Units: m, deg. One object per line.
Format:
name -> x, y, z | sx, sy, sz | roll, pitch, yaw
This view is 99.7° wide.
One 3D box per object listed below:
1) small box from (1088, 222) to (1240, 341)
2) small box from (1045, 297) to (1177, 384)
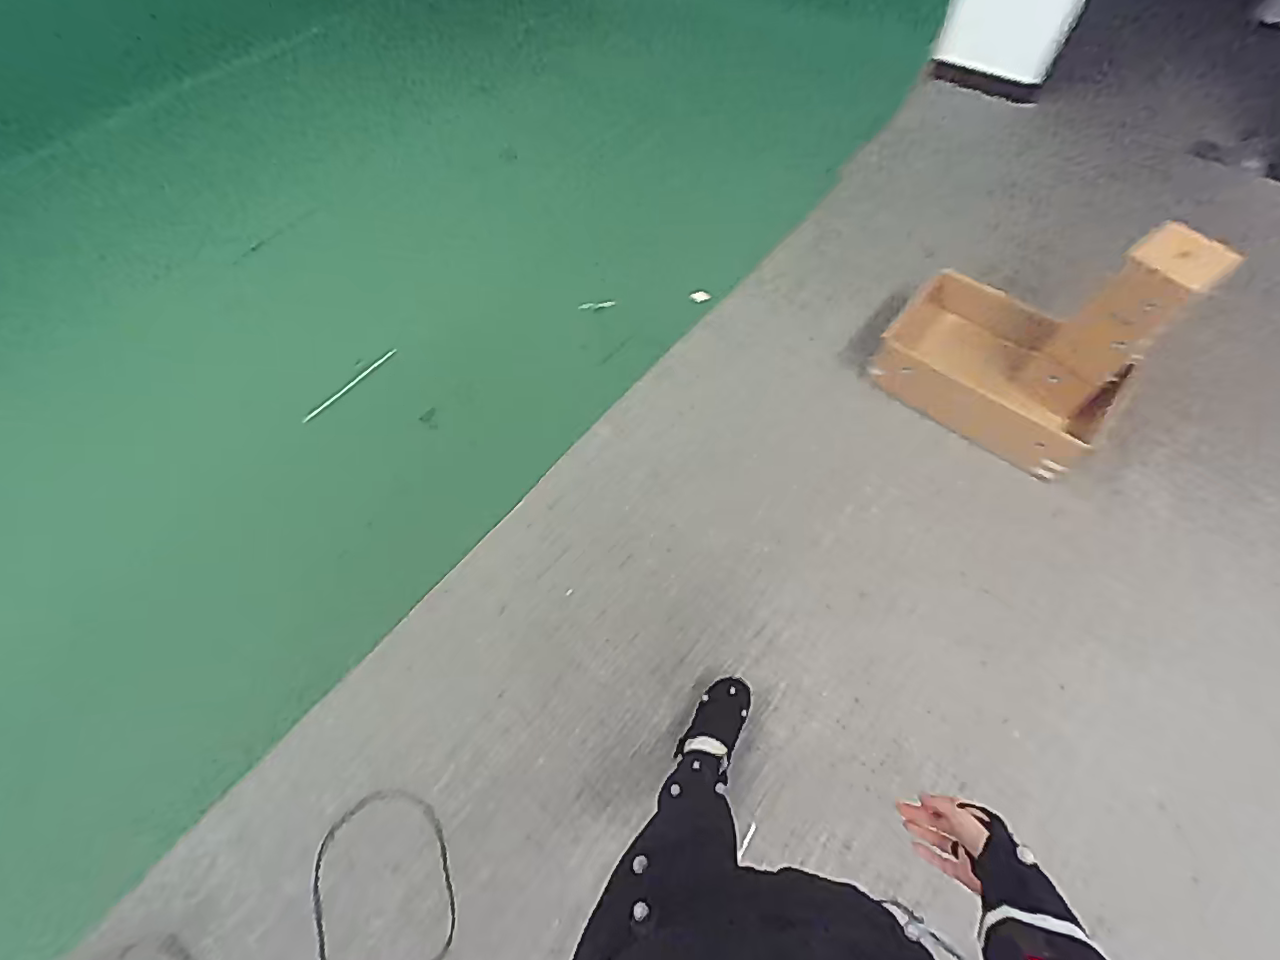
small box -> 1.232, -0.467, 1.291 | 0.179, 0.176, 0.168 | -34, 66, -13
small box -> 1.239, -0.391, 1.435 | 0.168, 0.176, 0.179 | -36, 66, -14
